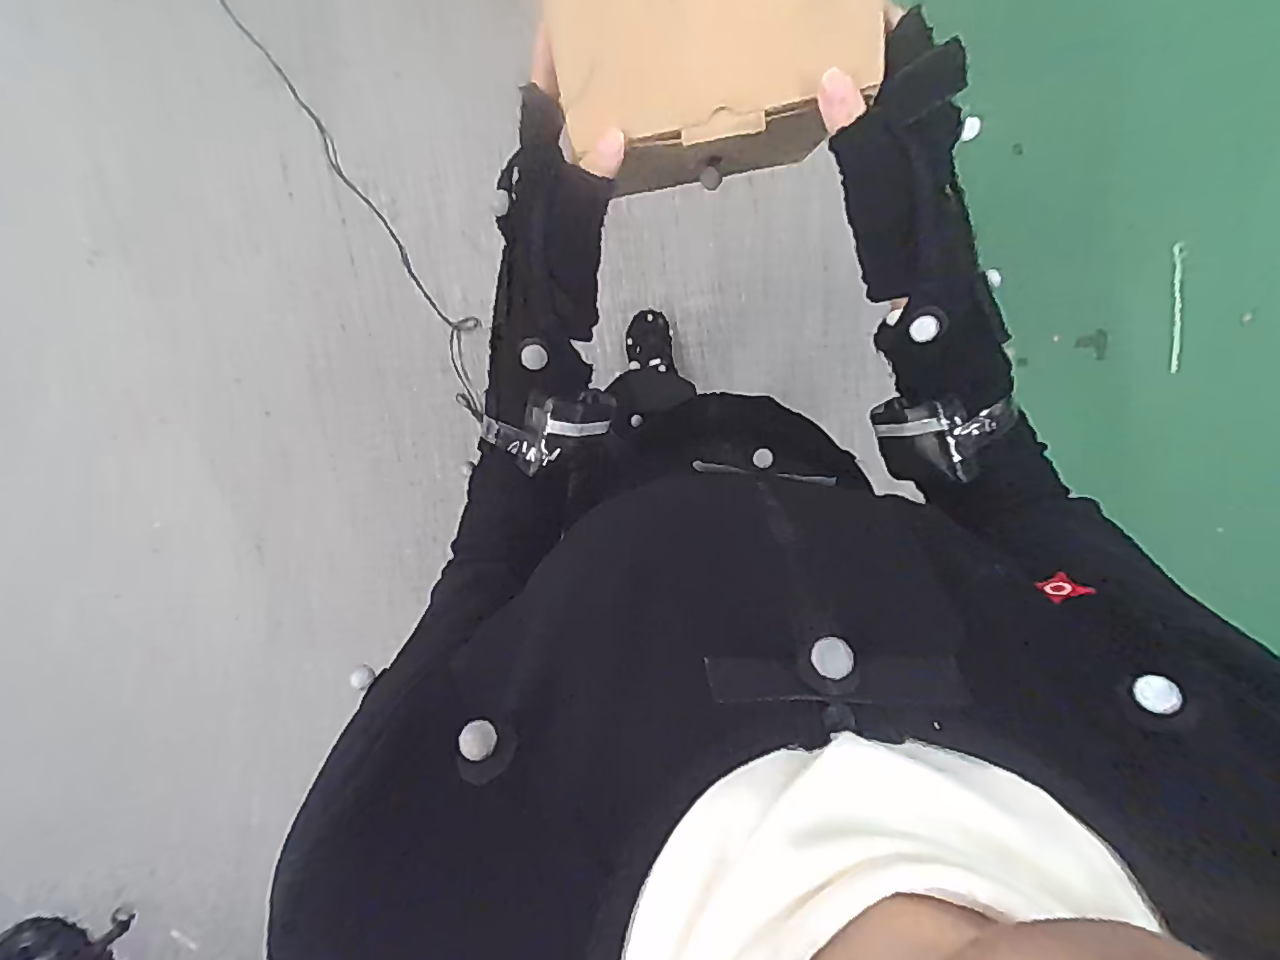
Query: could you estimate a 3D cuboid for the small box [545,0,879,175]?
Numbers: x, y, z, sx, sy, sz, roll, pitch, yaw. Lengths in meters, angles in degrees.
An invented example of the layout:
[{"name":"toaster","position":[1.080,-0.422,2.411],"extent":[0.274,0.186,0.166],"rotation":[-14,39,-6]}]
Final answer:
[{"name":"small box","position":[0.033,-0.301,0.329],"extent":[0.168,0.176,0.179],"rotation":[-9,111,6]}]
